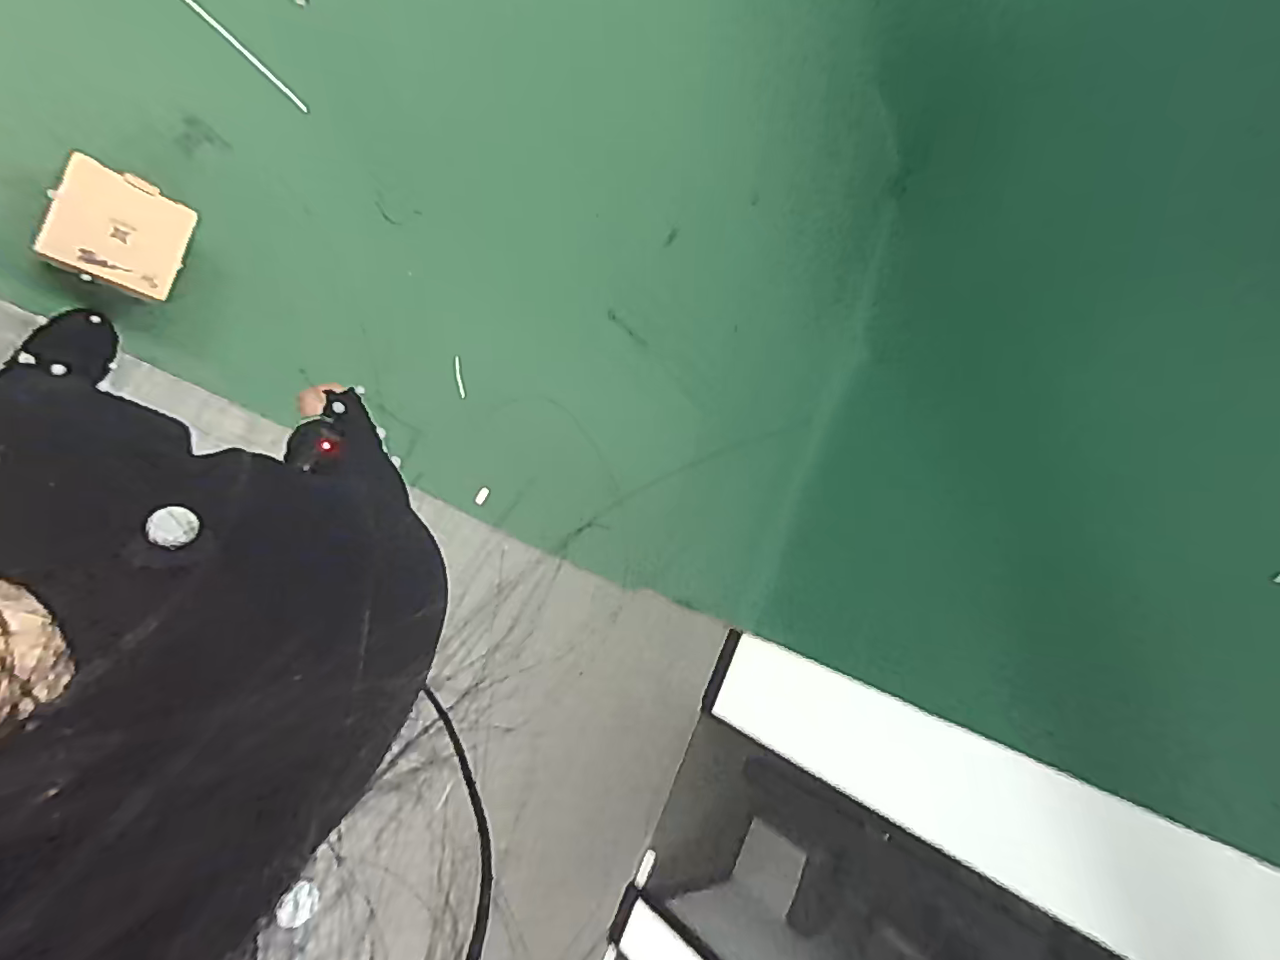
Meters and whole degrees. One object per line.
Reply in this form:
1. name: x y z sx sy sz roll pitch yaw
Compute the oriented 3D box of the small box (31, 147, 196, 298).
1. small box: -0.936 -0.442 0.960 0.168 0.176 0.179 23 84 -49
